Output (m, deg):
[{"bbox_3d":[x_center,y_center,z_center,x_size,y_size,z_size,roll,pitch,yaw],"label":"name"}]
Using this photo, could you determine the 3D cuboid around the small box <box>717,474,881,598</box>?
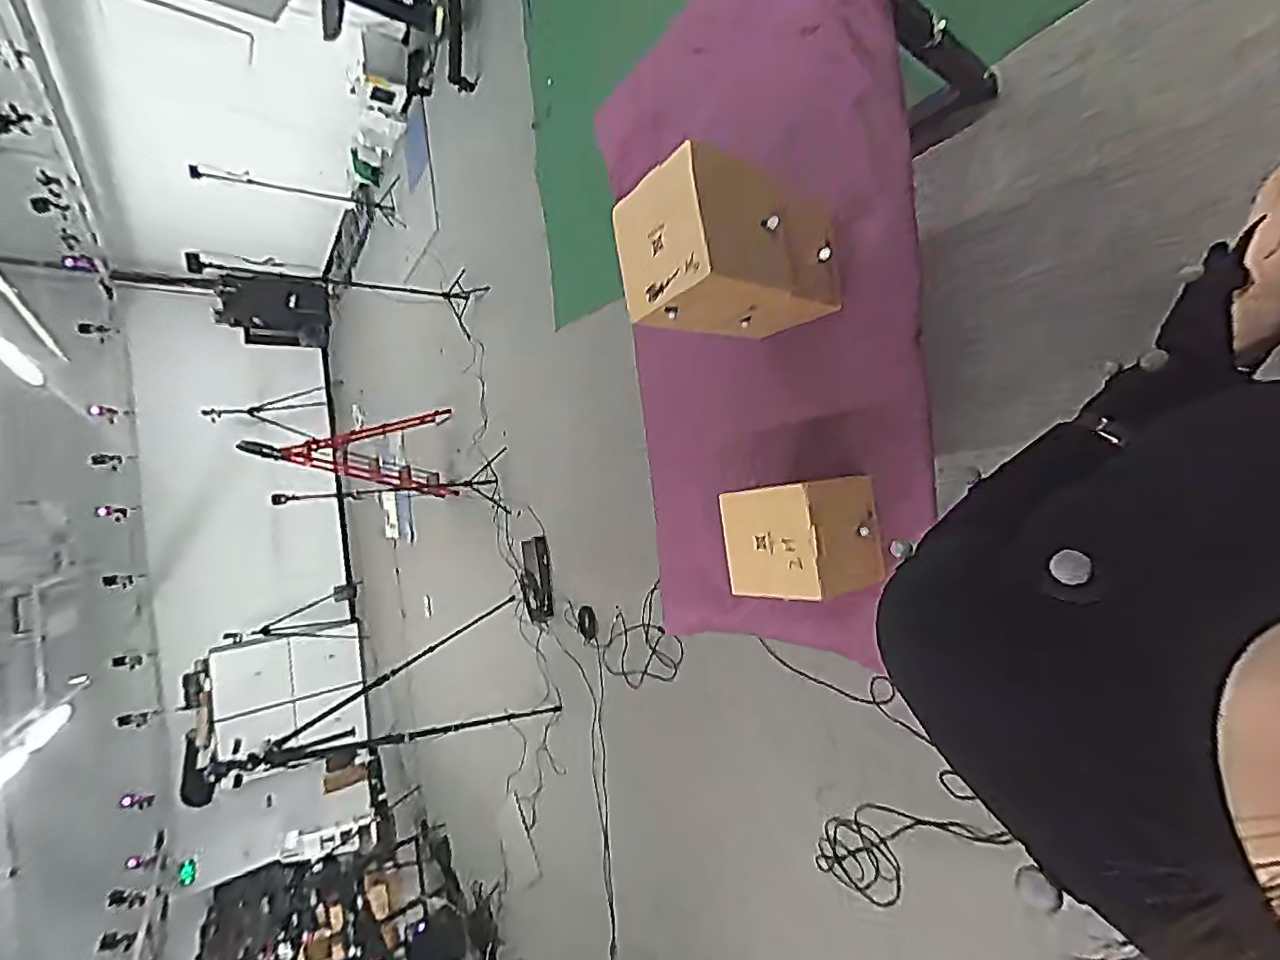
[{"bbox_3d":[0.250,0.085,0.860,0.179,0.176,0.168,-11,86,53],"label":"small box"}]

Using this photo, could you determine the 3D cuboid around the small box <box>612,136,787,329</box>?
[{"bbox_3d":[0.084,-0.328,0.761,0.168,0.176,0.179,-12,84,52],"label":"small box"}]

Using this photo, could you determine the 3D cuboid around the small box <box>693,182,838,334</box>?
[{"bbox_3d":[0.195,-0.346,0.883,0.179,0.176,0.168,-7,89,52],"label":"small box"}]
